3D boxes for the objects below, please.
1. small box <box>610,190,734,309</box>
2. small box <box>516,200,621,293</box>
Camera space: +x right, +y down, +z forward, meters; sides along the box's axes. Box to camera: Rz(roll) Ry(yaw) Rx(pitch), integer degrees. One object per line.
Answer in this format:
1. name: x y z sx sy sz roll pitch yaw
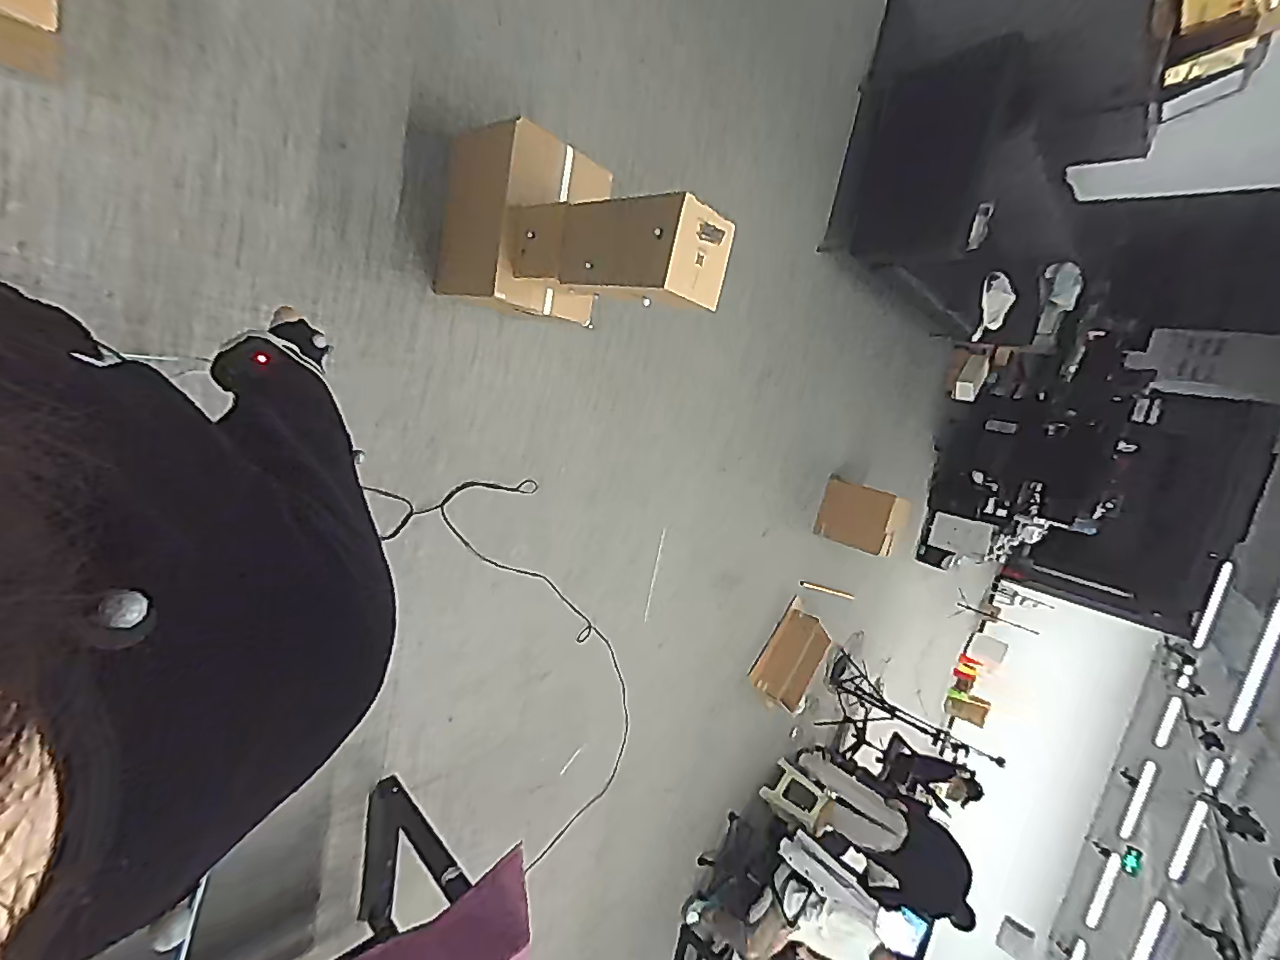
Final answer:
1. small box: 0.061 -0.463 1.102 0.168 0.176 0.179 3 104 -47
2. small box: -0.174 -0.561 1.312 0.179 0.176 0.168 -1 106 -46
